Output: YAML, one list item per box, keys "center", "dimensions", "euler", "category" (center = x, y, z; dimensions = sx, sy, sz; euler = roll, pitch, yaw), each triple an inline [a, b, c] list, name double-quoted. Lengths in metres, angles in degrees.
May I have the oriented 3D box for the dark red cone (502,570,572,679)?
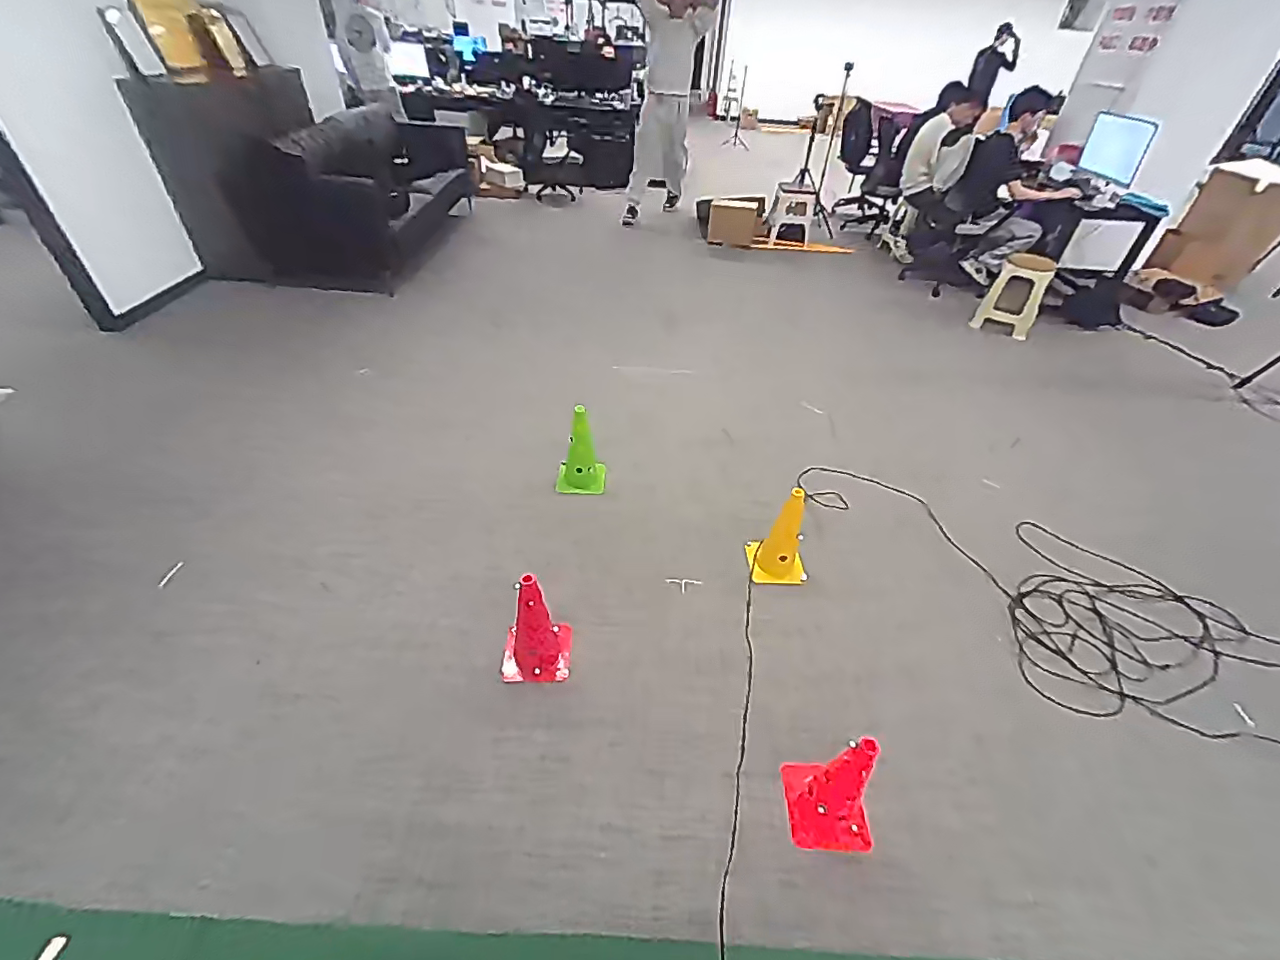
- center: [-0.302, 0.394, 1.548]
  dimensions: [0.202, 0.394, 0.201]
  euler: [0, 41, -4]
  category: "dark red cone"

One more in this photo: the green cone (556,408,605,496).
- center: [-0.241, -0.130, 2.211]
  dimensions: [0.202, 0.368, 0.200]
  euler: [3, 41, -2]
  category: "green cone"

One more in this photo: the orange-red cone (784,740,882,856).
- center: [0.487, 0.707, 1.271]
  dimensions: [0.198, 0.360, 0.199]
  euler: [5, 39, -1]
  category: "orange-red cone"
